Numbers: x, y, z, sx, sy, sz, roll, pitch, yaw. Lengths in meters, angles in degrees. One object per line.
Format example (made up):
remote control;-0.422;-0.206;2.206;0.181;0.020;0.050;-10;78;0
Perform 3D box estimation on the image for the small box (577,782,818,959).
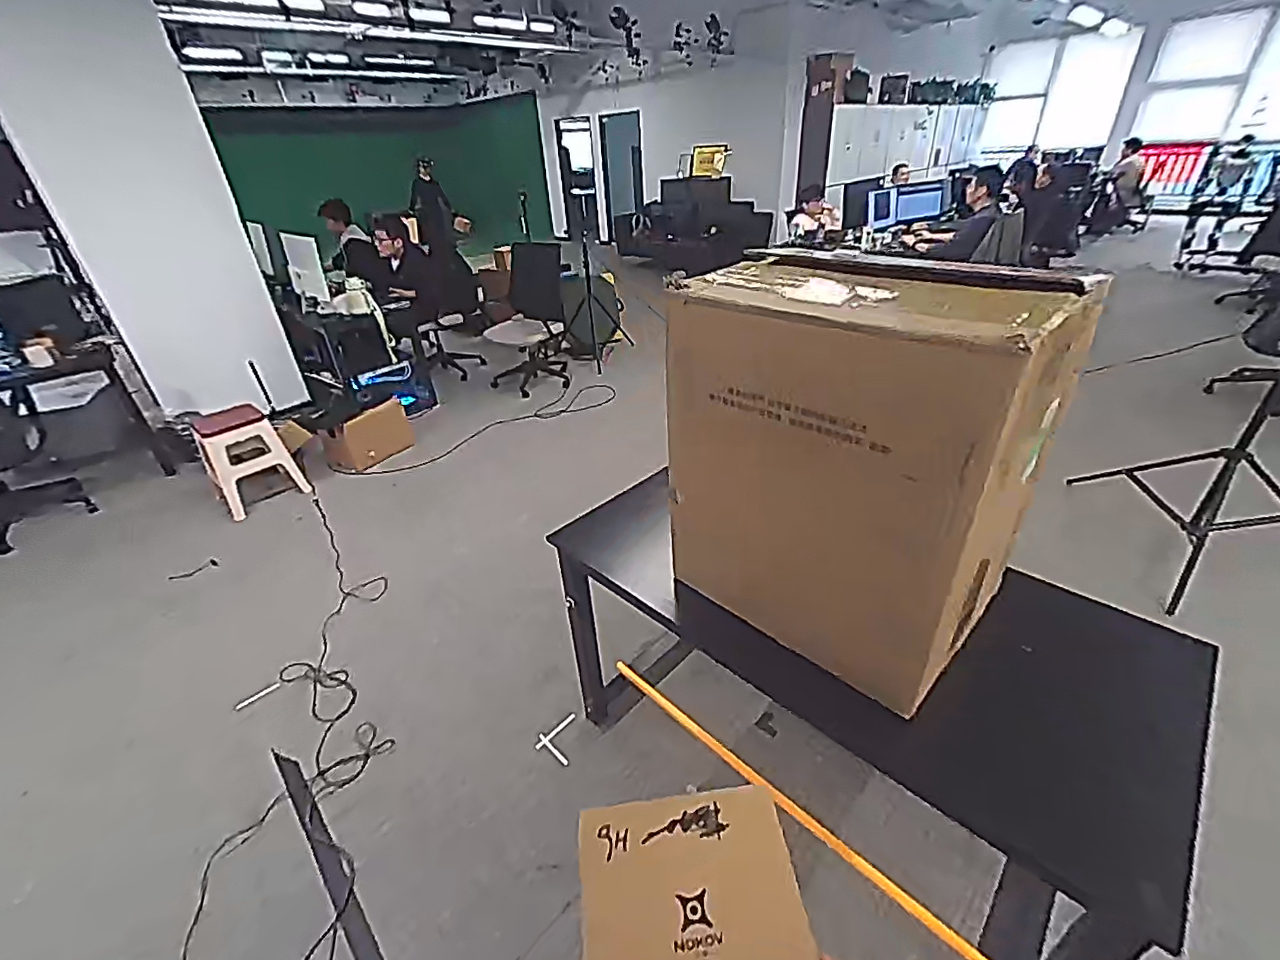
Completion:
small box;0.042;0.380;0.443;0.168;0.176;0.179;-6;42;-5
